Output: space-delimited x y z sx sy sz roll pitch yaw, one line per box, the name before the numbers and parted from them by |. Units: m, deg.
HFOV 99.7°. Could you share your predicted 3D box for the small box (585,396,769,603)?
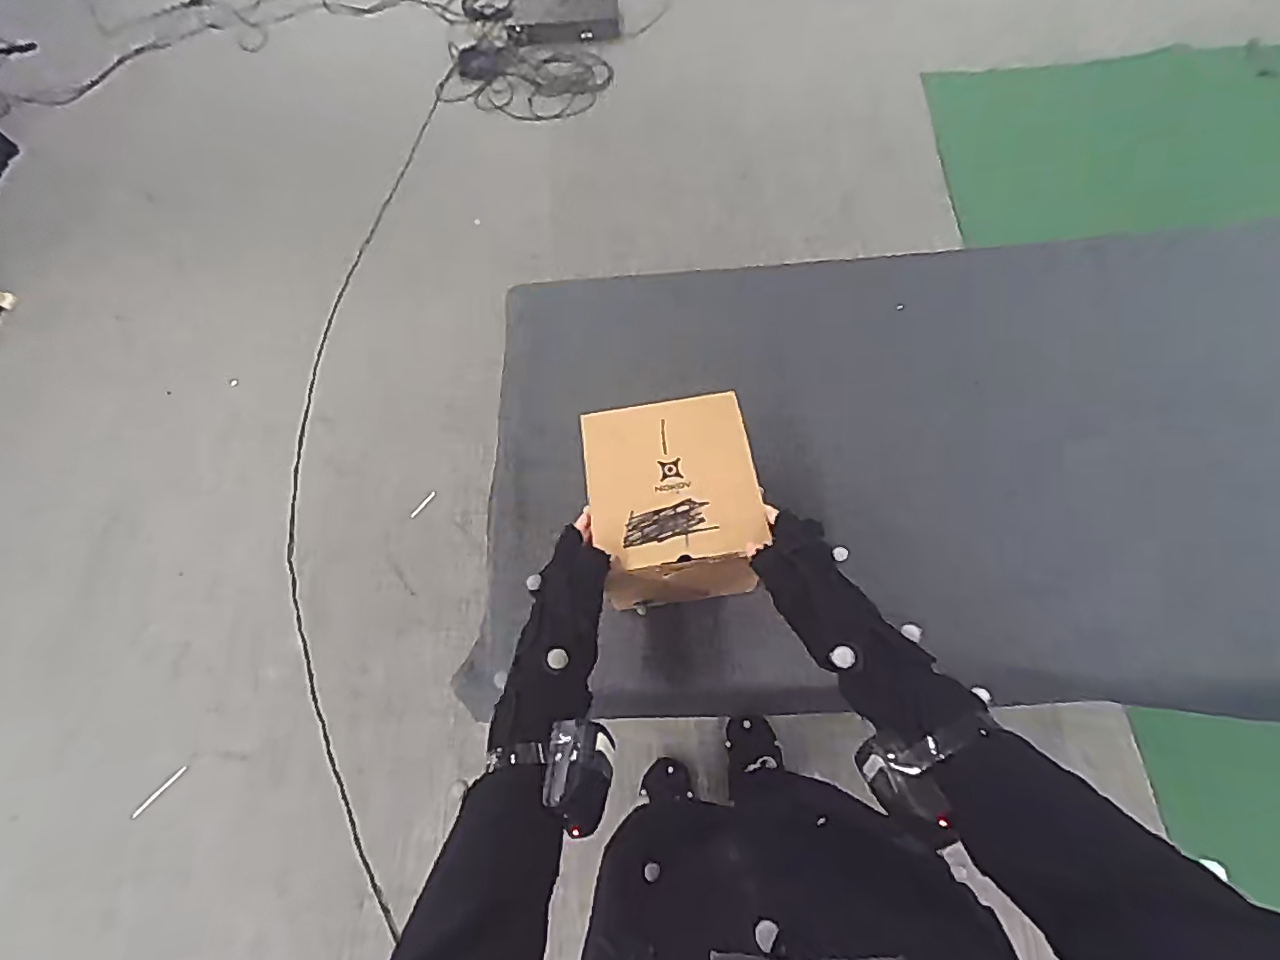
small box | 0.039 0.033 0.606 0.168 0.176 0.179 -9 64 1
